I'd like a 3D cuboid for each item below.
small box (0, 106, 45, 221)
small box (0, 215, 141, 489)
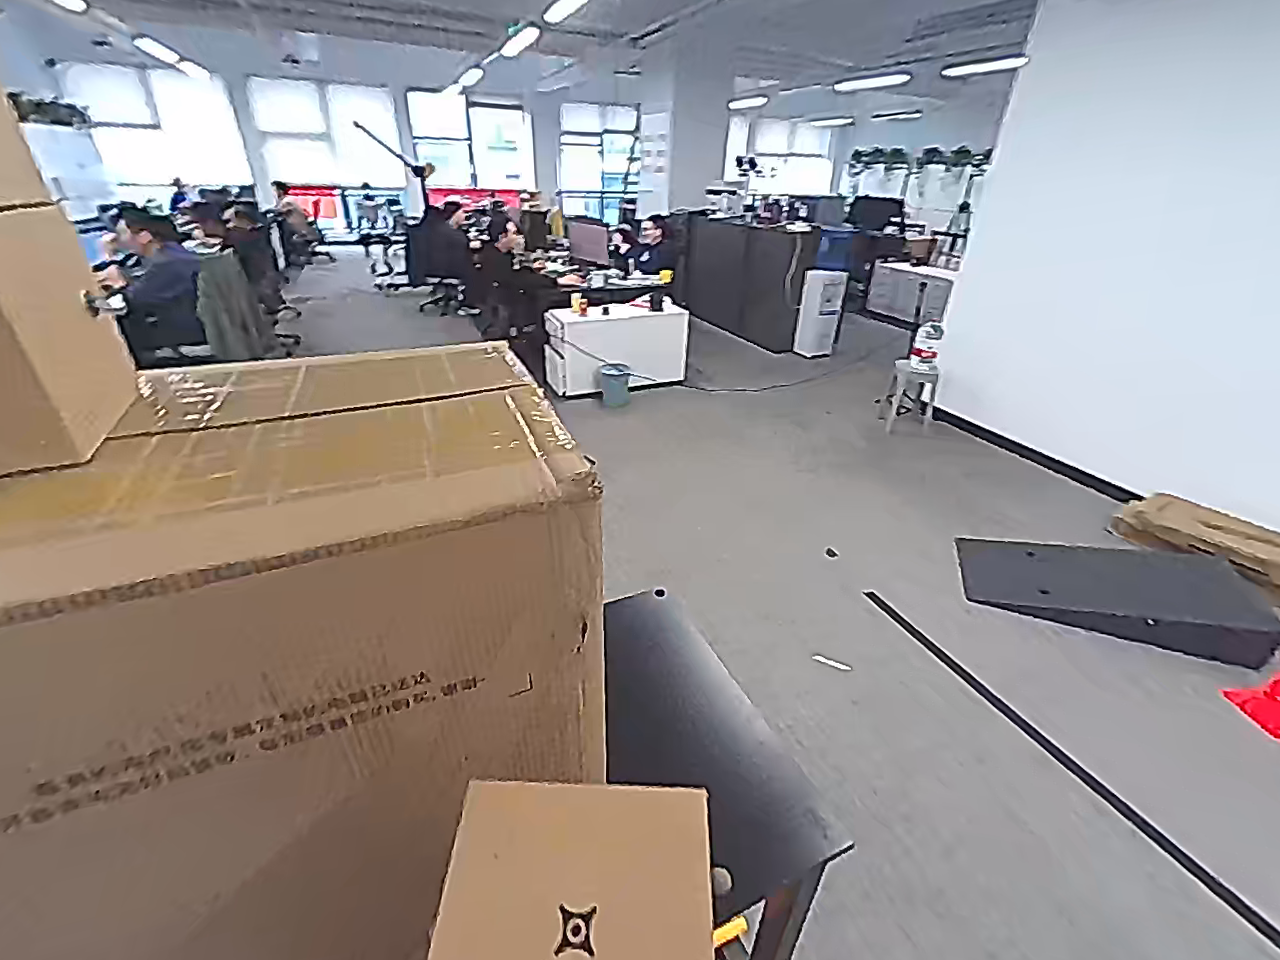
[{"bbox_3d":[-0.505,-0.231,0.302,0.168,0.176,0.179,-13,32,-24],"label":"small box"},{"bbox_3d":[-0.512,-0.095,0.394,0.168,0.176,0.179,-14,33,-25],"label":"small box"}]
